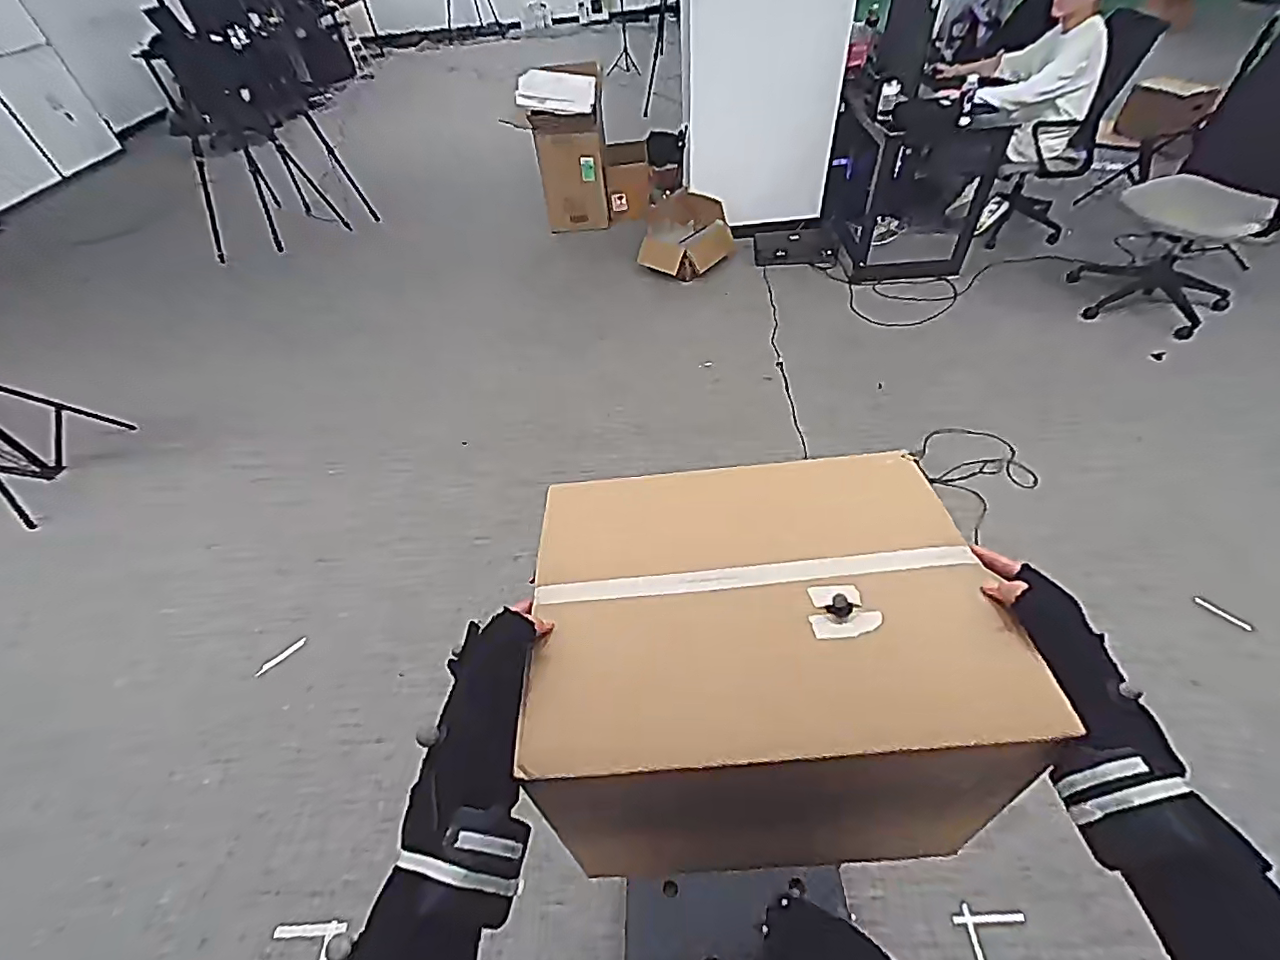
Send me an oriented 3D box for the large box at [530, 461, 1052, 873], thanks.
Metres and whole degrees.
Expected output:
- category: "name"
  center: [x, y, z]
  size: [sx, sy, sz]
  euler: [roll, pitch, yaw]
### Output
- category: "large box"
  center: [0.117, 0.210, 0.613]
  size: [0.408, 0.320, 0.320]
  euler: [-6, 43, 2]
